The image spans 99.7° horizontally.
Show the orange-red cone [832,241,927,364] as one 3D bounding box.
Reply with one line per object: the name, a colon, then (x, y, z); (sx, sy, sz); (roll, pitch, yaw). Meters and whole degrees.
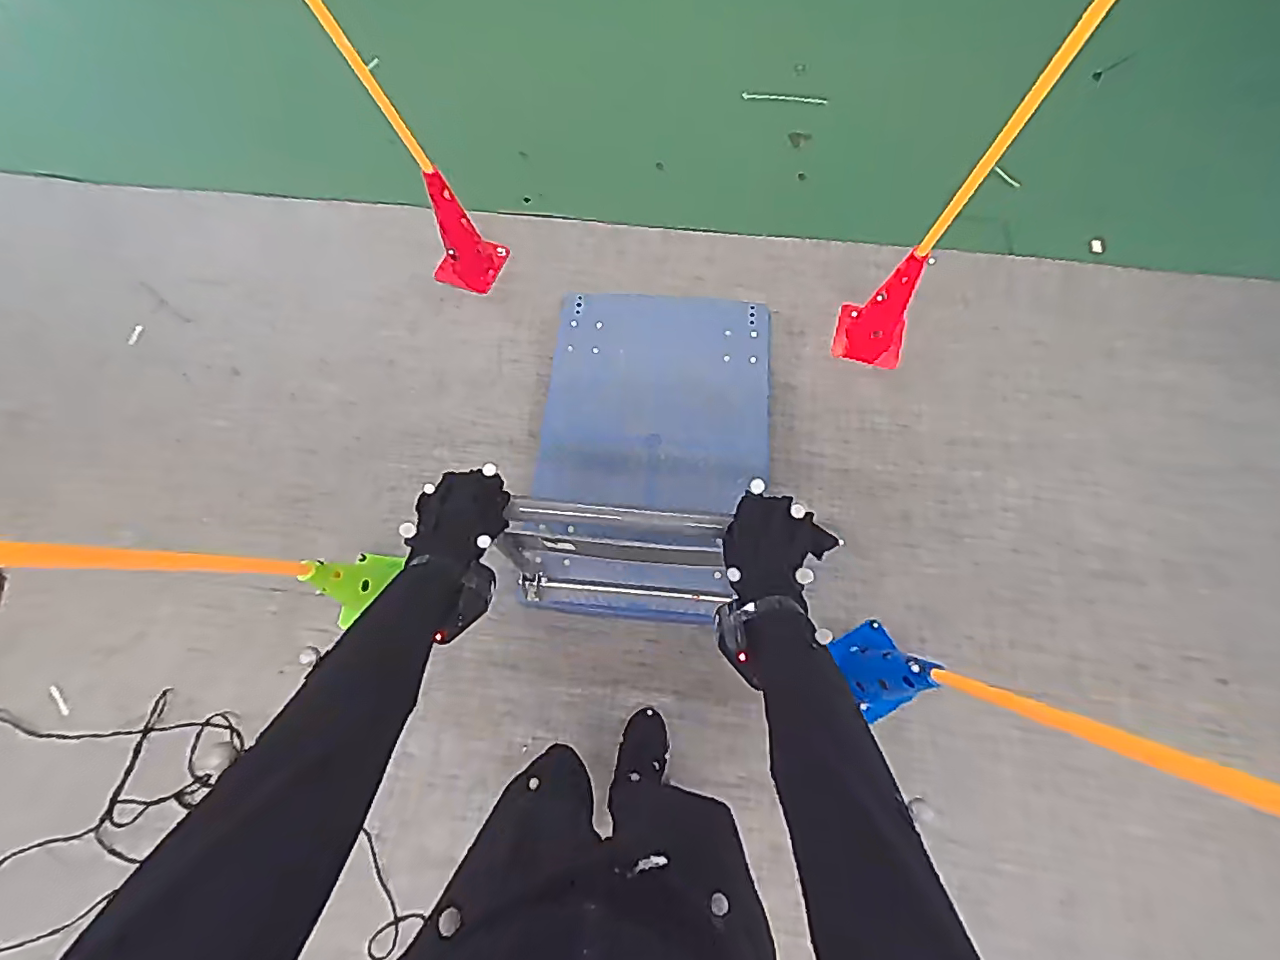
orange-red cone: (0.688, -0.507, 1.477); (0.198, 0.360, 0.199); (17, 73, 8)
